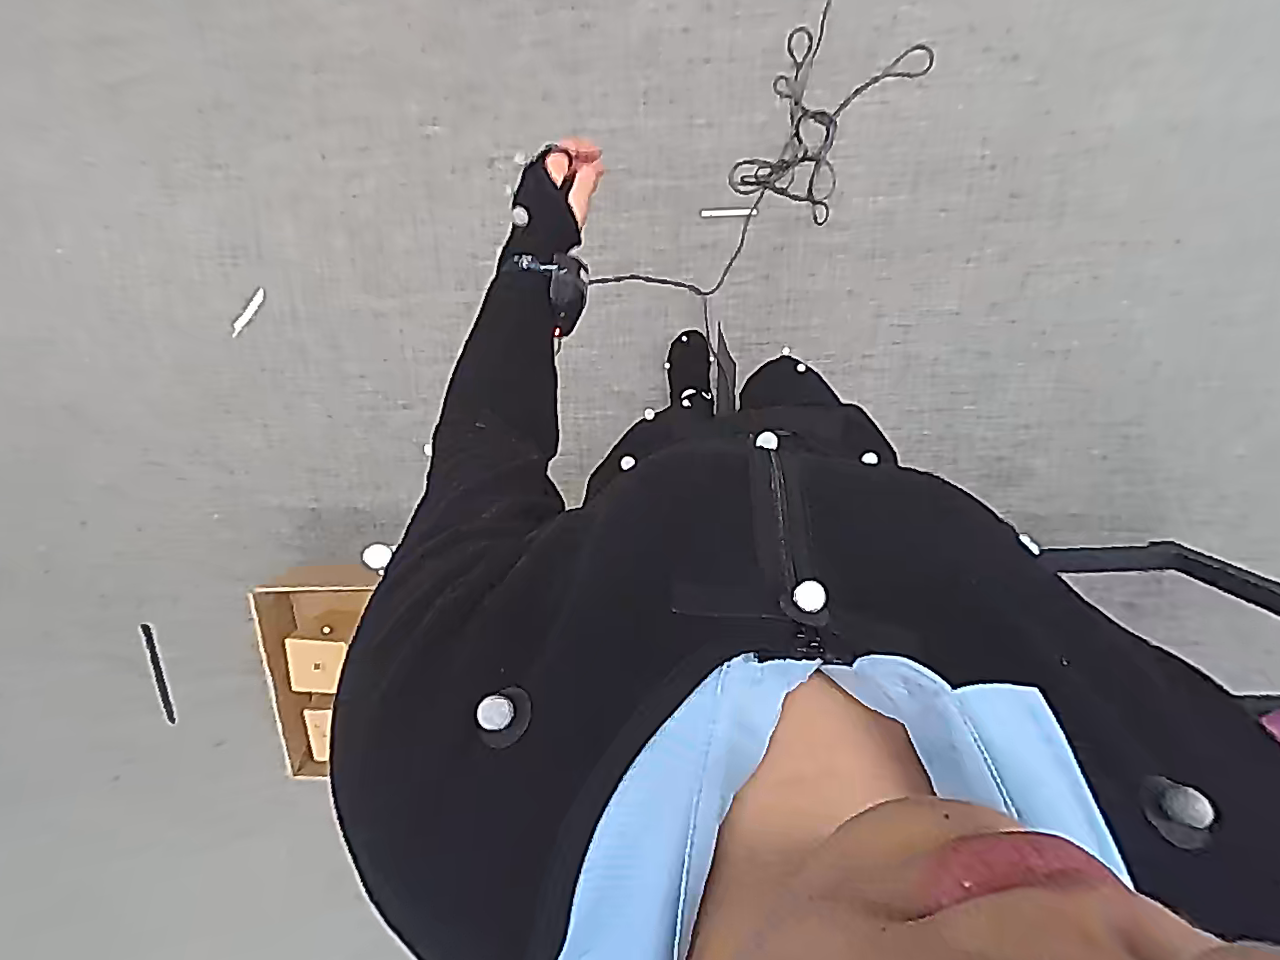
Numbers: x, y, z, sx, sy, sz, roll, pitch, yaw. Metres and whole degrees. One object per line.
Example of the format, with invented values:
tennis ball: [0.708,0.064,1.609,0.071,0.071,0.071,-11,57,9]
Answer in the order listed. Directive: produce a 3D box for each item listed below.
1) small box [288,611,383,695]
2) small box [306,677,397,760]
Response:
small box: [-0.877,0.495,1.569,0.179,0.176,0.168,3,104,3]
small box: [-0.848,0.706,1.614,0.179,0.176,0.168,-3,101,5]
